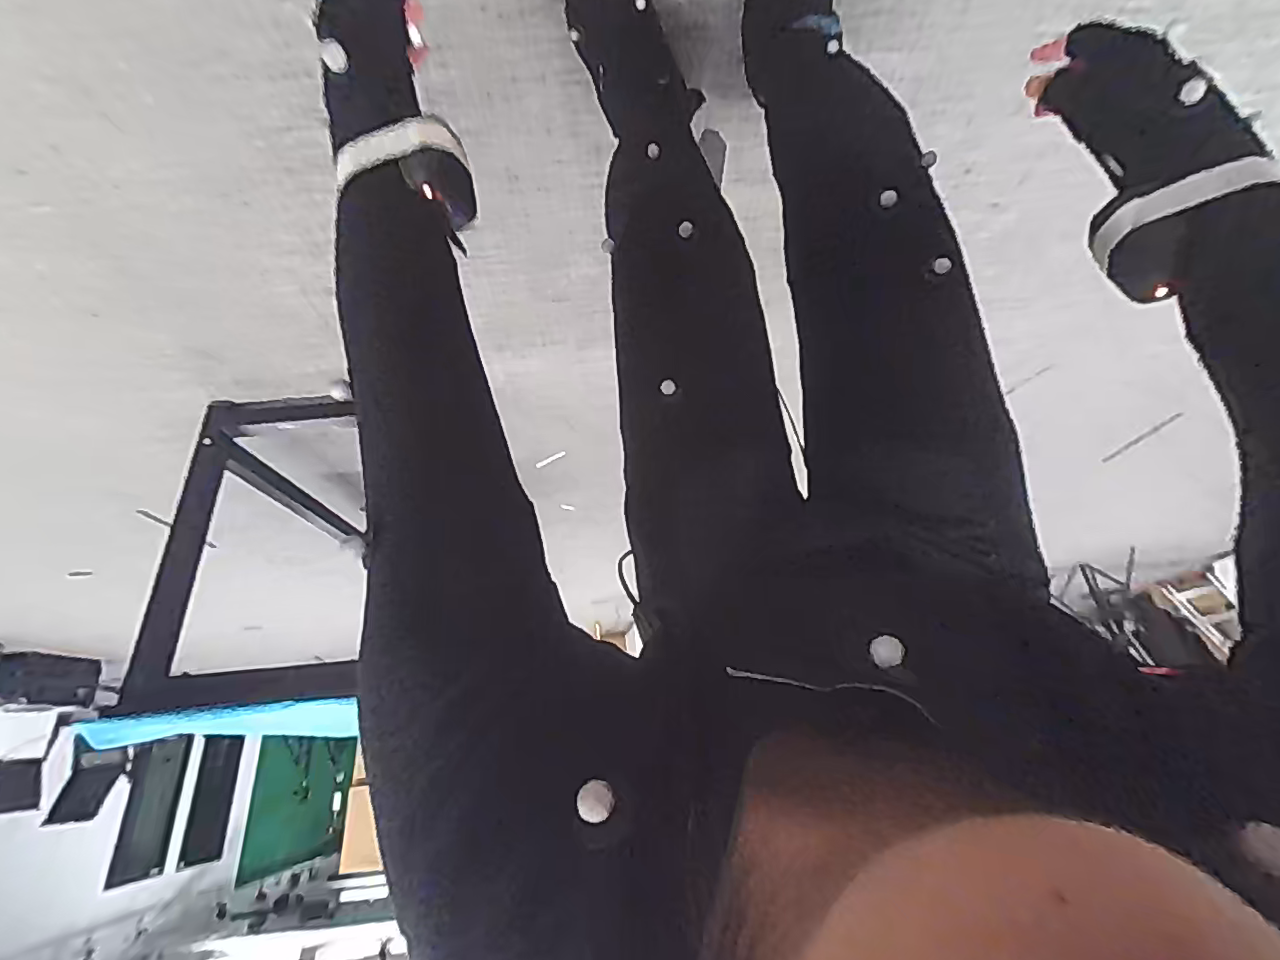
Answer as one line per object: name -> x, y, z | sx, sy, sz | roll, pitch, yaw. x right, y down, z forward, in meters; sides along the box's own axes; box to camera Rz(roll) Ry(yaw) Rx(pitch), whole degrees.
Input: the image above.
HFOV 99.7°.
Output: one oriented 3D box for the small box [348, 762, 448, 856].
small box -> -0.569, 0.775, 1.283 | 0.168, 0.176, 0.179 | -3, 158, -2
